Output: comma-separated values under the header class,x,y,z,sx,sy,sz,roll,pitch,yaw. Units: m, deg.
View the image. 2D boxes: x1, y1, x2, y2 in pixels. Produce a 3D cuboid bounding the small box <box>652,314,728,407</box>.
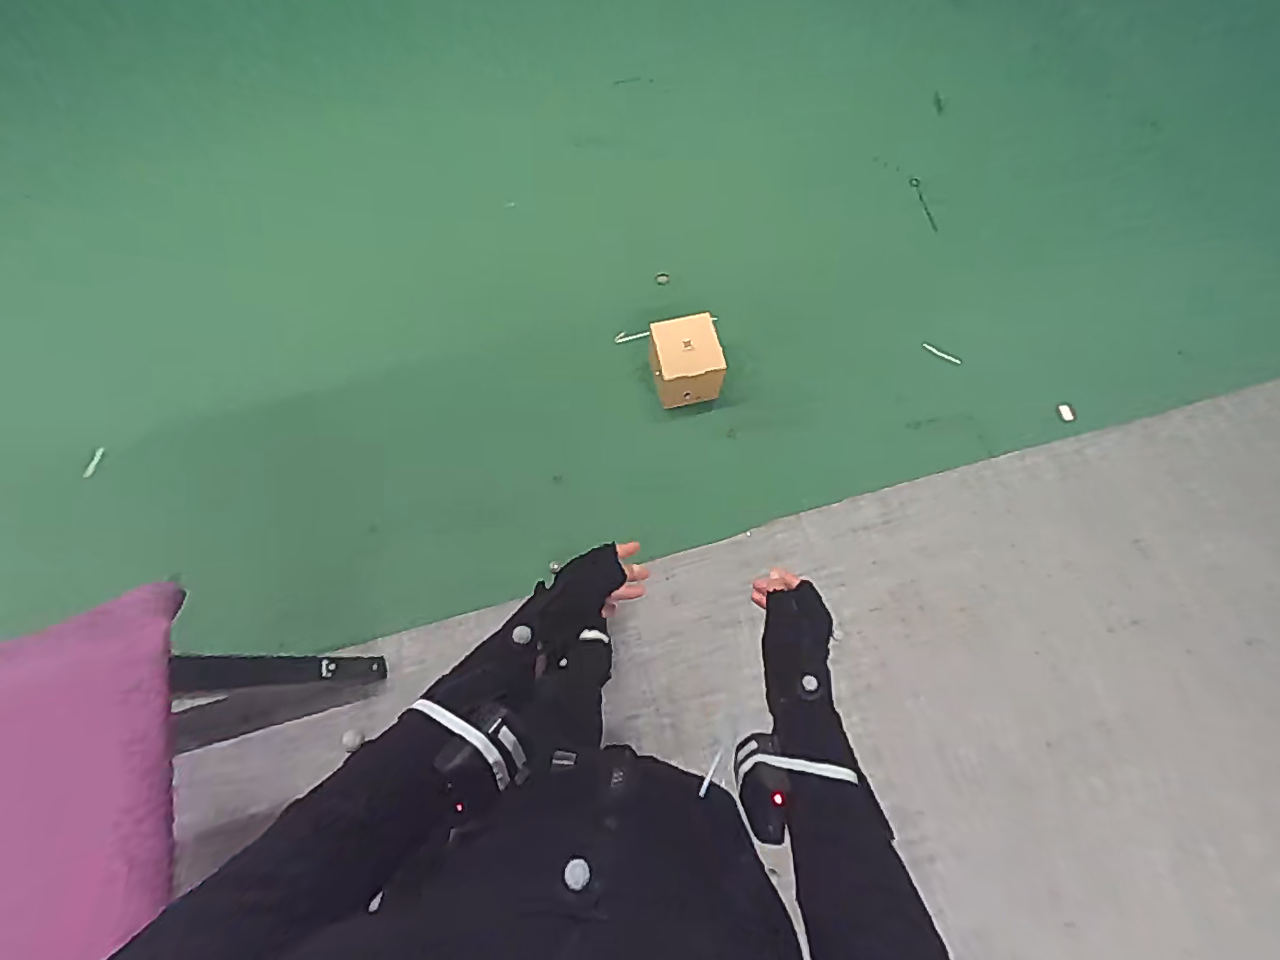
class,x,y,z,sx,sy,sz,roll,pitch,yaw
small box,0.130,-0.327,1.494,0.168,0.176,0.179,-13,72,-4
